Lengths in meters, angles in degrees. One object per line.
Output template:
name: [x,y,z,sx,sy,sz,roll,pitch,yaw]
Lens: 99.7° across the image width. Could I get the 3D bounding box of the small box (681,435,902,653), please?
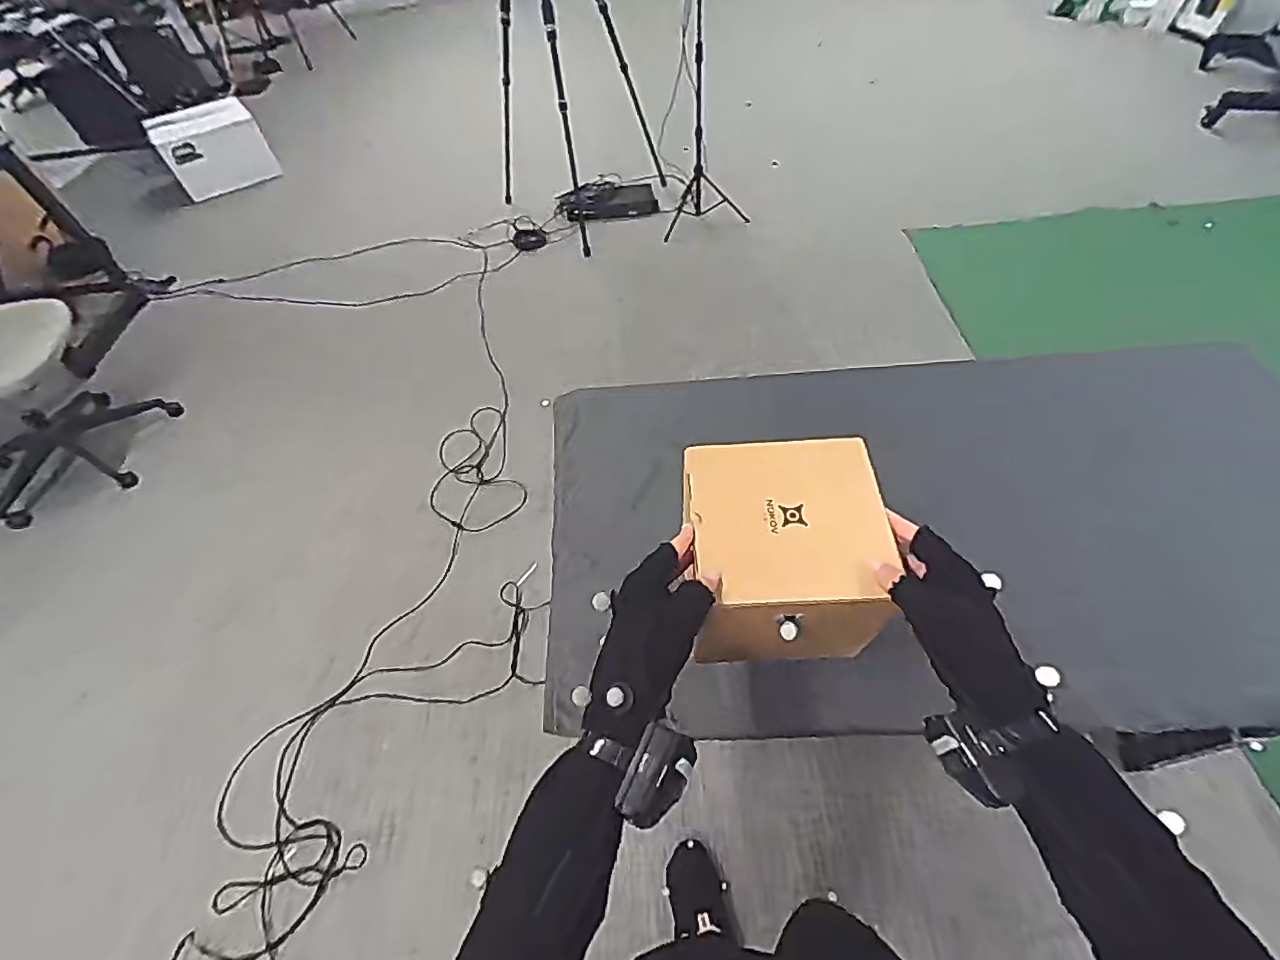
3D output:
small box: [0.133,0.072,0.553,0.179,0.176,0.168,-3,57,3]
